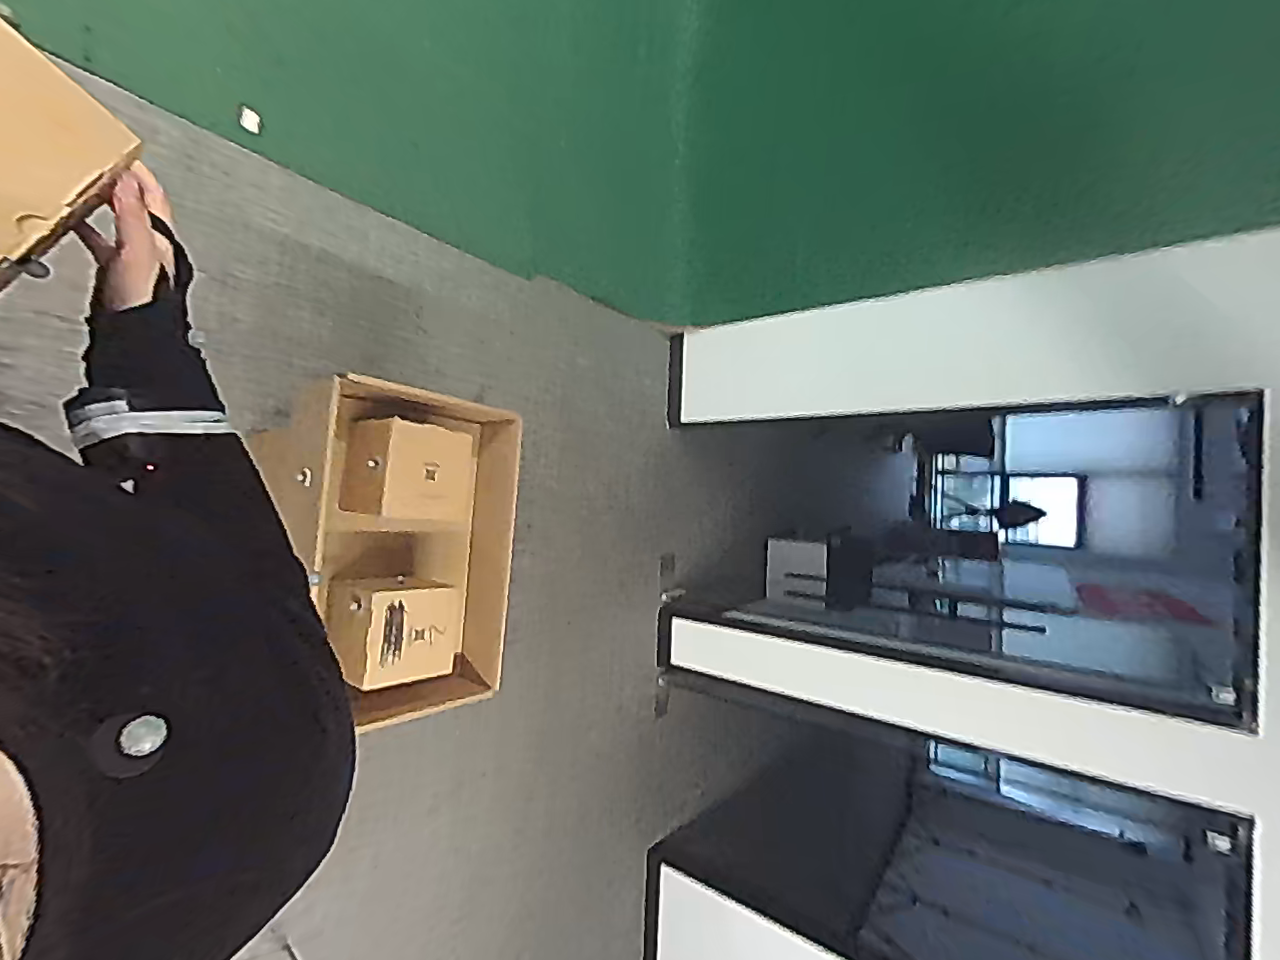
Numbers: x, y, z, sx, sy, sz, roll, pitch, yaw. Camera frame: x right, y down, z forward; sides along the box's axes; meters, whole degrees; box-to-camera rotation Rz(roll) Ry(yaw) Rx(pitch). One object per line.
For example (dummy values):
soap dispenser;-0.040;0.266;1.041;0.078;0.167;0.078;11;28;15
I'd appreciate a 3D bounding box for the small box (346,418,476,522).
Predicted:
small box;-0.444;-0.016;1.047;0.168;0.176;0.179;11;83;-51
